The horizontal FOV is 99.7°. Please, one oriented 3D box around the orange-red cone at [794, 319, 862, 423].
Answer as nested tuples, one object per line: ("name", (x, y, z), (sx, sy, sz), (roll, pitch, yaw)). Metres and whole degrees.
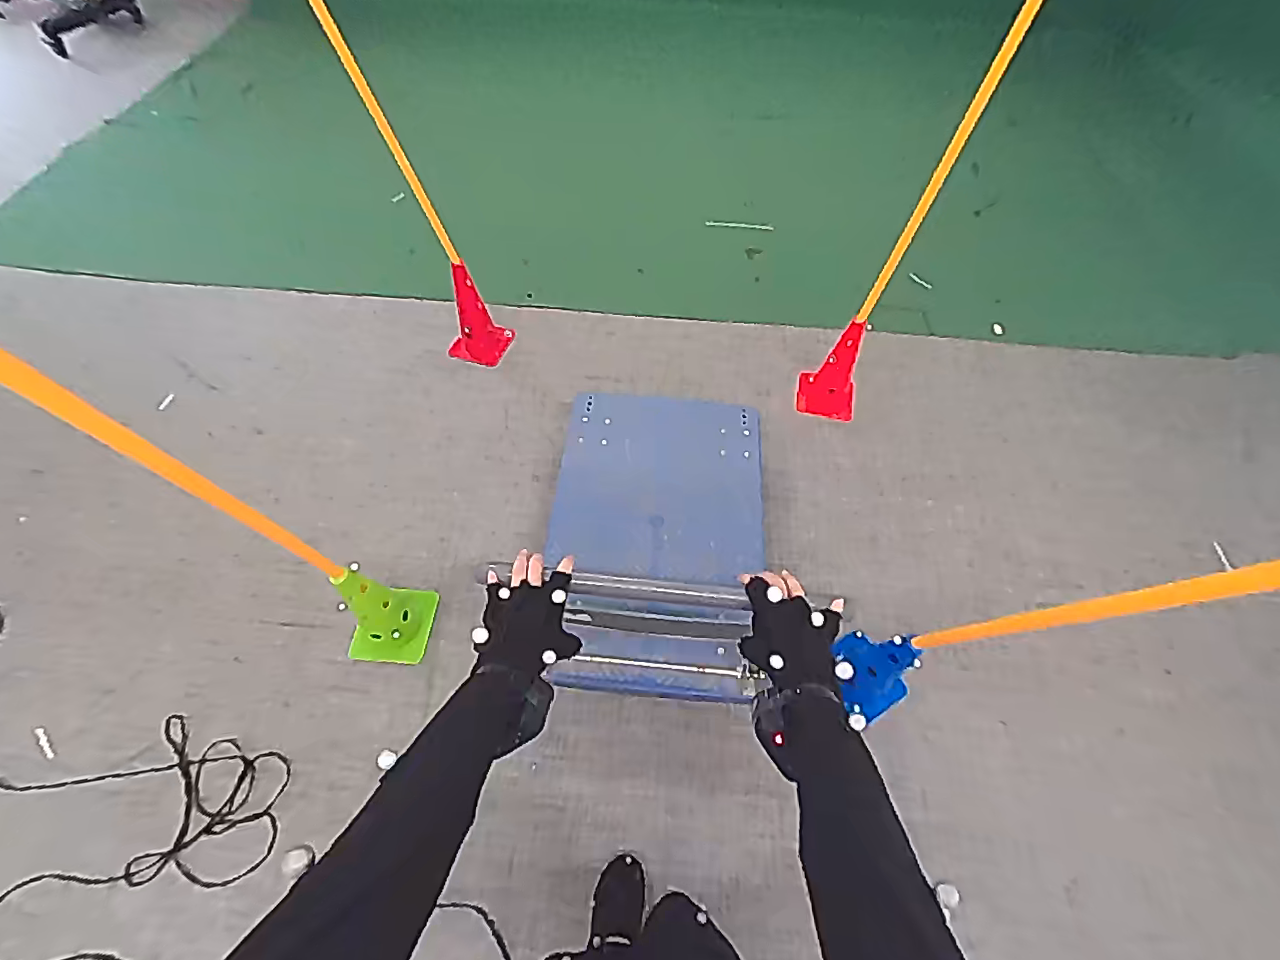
("orange-red cone", (0.664, -0.386, 1.804), (0.198, 0.360, 0.199), (14, 59, 8))
